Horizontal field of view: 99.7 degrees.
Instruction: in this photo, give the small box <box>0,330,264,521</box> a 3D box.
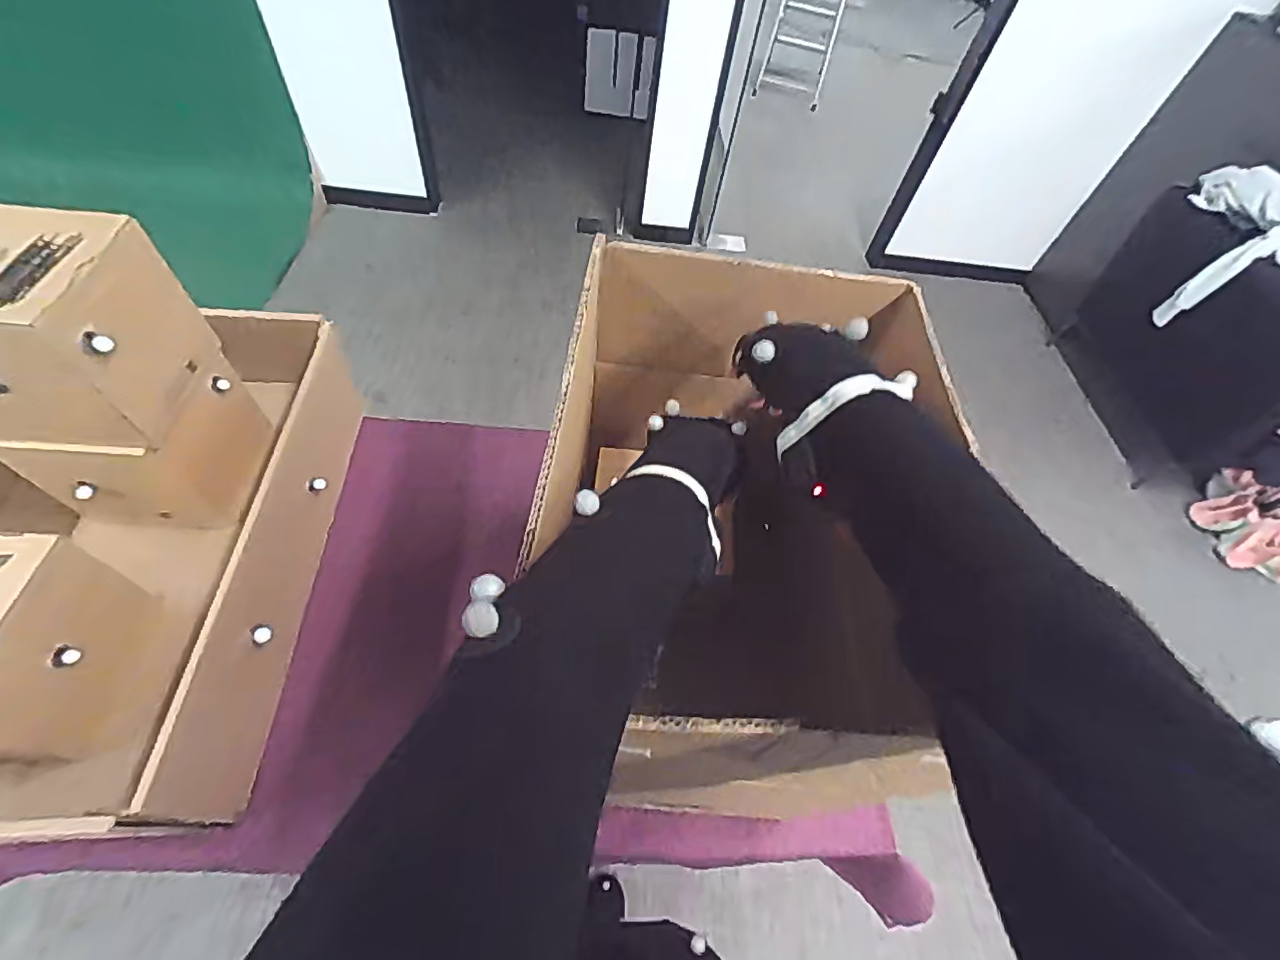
[{"bbox_3d":[-0.619,-0.062,0.681,0.168,0.176,0.179,4,56,-5],"label":"small box"}]
